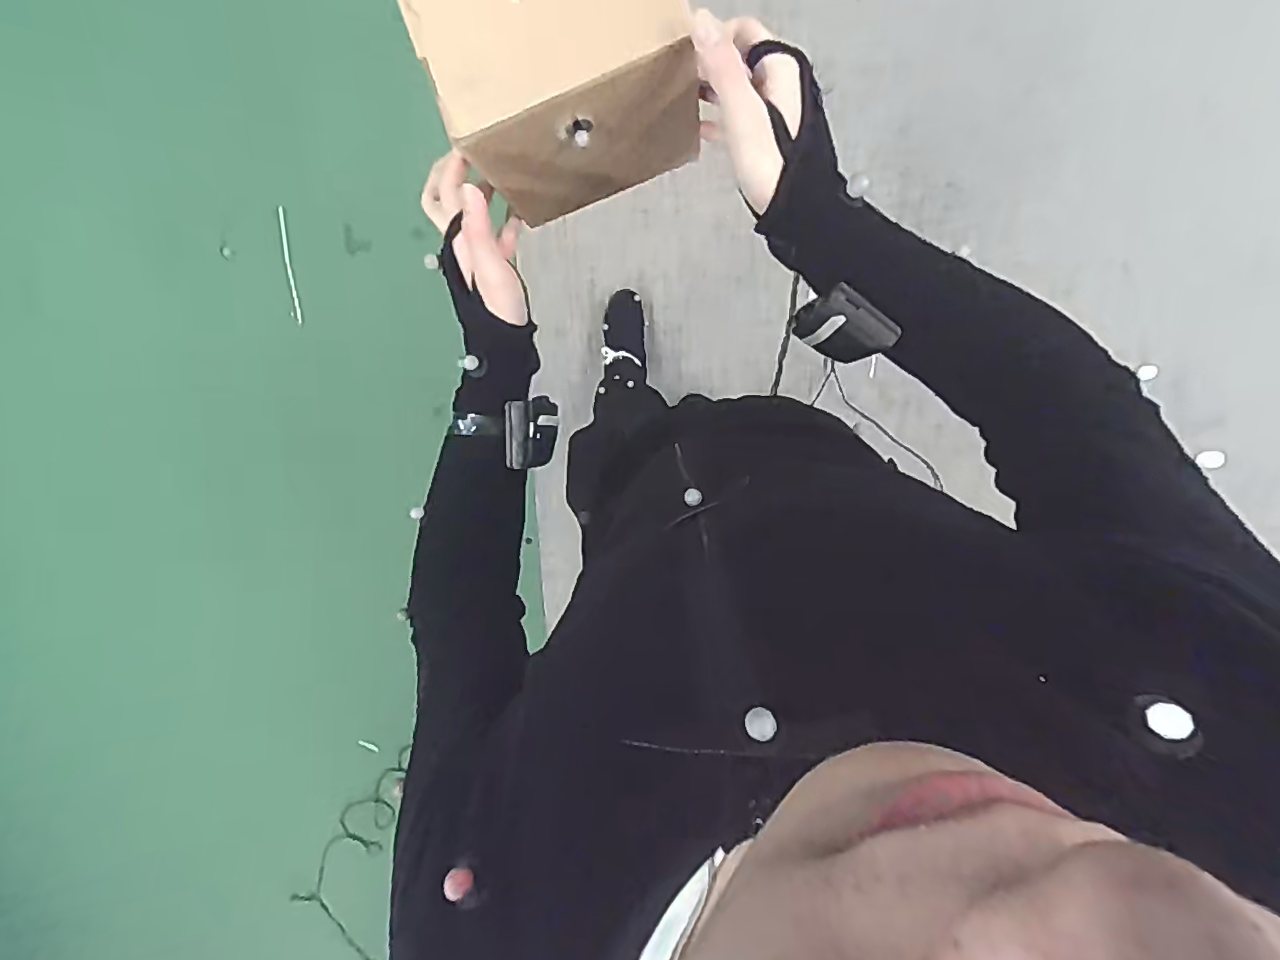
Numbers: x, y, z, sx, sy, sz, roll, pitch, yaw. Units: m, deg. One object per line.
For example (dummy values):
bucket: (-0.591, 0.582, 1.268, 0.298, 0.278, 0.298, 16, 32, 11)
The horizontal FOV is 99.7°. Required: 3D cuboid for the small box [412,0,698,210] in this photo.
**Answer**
small box: (-0.059, -0.347, 0.429, 0.179, 0.176, 0.168, -16, 93, 9)
